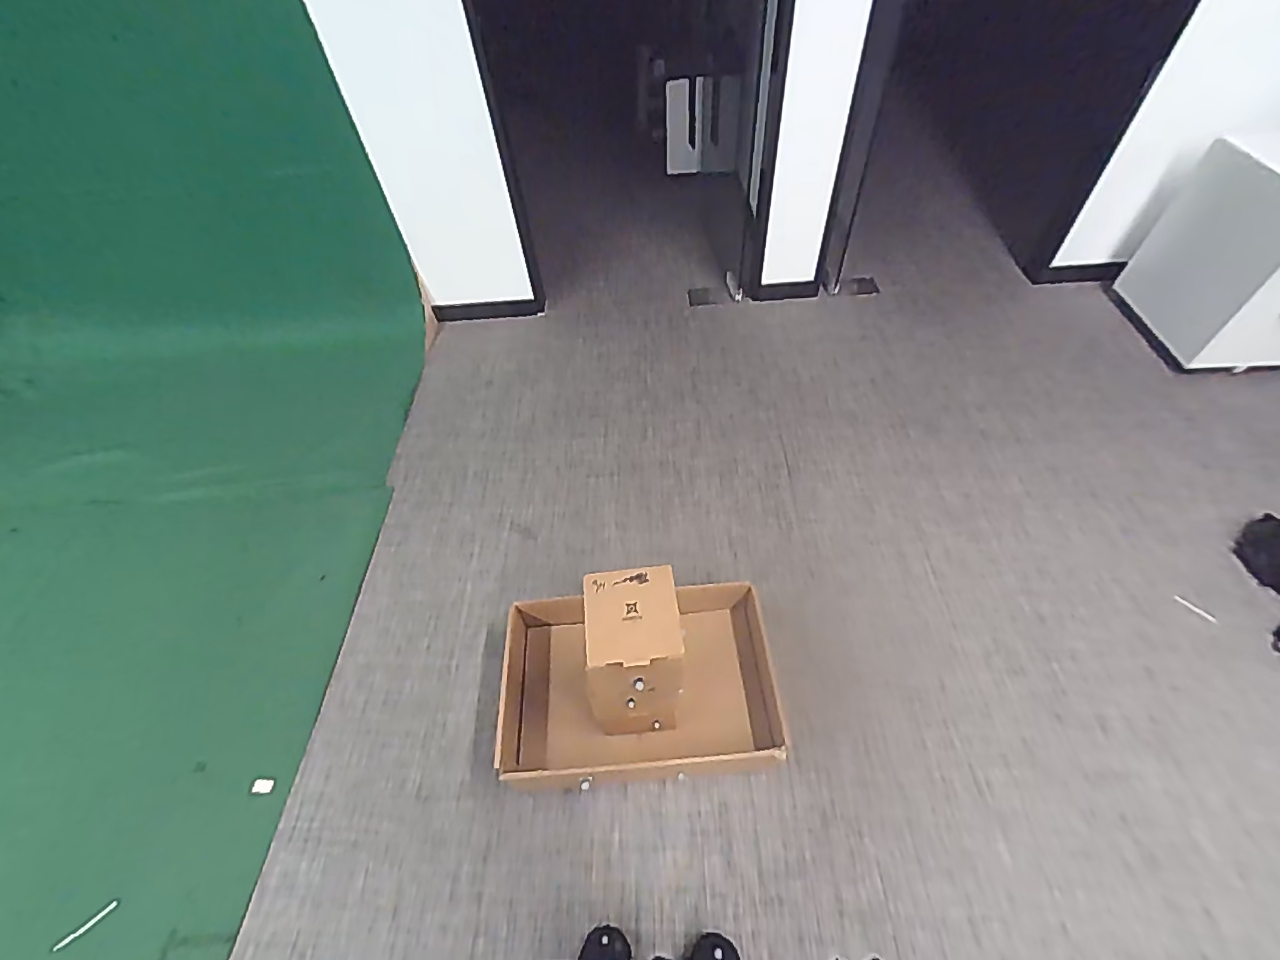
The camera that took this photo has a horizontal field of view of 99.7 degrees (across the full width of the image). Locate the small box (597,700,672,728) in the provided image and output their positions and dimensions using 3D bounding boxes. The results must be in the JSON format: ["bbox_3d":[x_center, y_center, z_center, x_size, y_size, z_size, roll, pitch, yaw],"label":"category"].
[{"bbox_3d":[-0.014,0.474,1.277,0.168,0.176,0.179,-5,50,-1],"label":"small box"}]

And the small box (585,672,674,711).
[{"bbox_3d":[-0.021,0.386,1.158,0.179,0.176,0.168,-4,51,1],"label":"small box"}]

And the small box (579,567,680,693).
[{"bbox_3d":[-0.018,0.292,1.028,0.168,0.176,0.179,-8,51,-2],"label":"small box"}]
